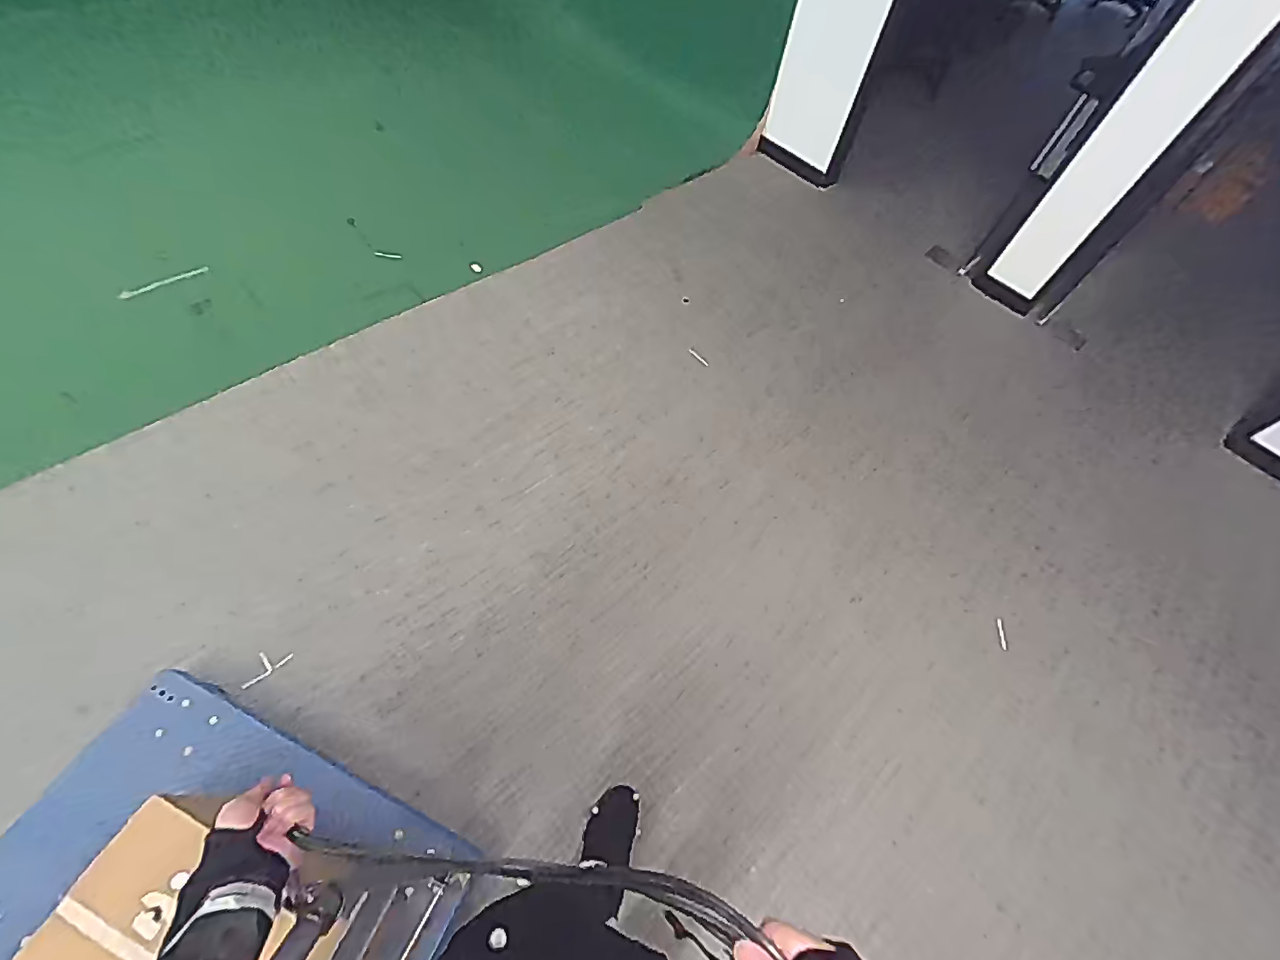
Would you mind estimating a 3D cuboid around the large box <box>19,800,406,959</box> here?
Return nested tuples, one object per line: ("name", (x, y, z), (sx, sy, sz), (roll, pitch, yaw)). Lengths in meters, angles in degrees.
("large box", (-0.688, 0.789, 0.902), (0.408, 0.320, 0.320), (24, 58, 10))
